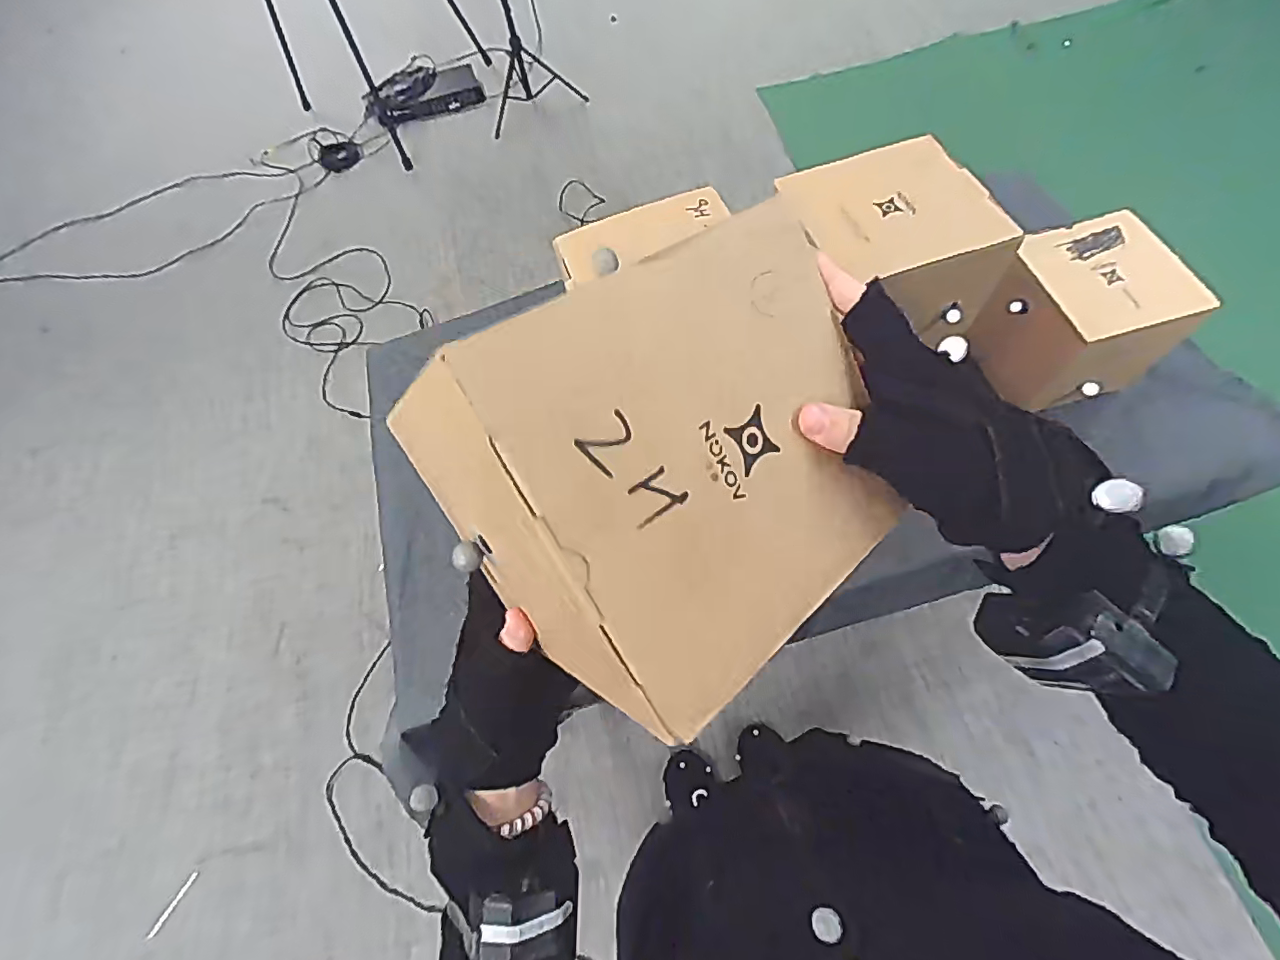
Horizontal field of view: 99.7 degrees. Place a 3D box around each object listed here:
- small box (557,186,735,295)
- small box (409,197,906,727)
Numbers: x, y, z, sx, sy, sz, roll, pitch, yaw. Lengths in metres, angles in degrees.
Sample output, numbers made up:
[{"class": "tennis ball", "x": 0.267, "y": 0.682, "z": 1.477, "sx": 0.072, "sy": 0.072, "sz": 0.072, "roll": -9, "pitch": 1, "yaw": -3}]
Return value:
[{"class": "small box", "x": 0.031, "y": -0.172, "z": 0.590, "sx": 0.179, "sy": 0.176, "sz": 0.168, "roll": -21, "pitch": 65, "yaw": -3}, {"class": "small box", "x": 0.001, "y": -0.015, "z": 0.296, "sx": 0.179, "sy": 0.176, "sz": 0.168, "roll": -36, "pitch": 106, "yaw": -25}]
